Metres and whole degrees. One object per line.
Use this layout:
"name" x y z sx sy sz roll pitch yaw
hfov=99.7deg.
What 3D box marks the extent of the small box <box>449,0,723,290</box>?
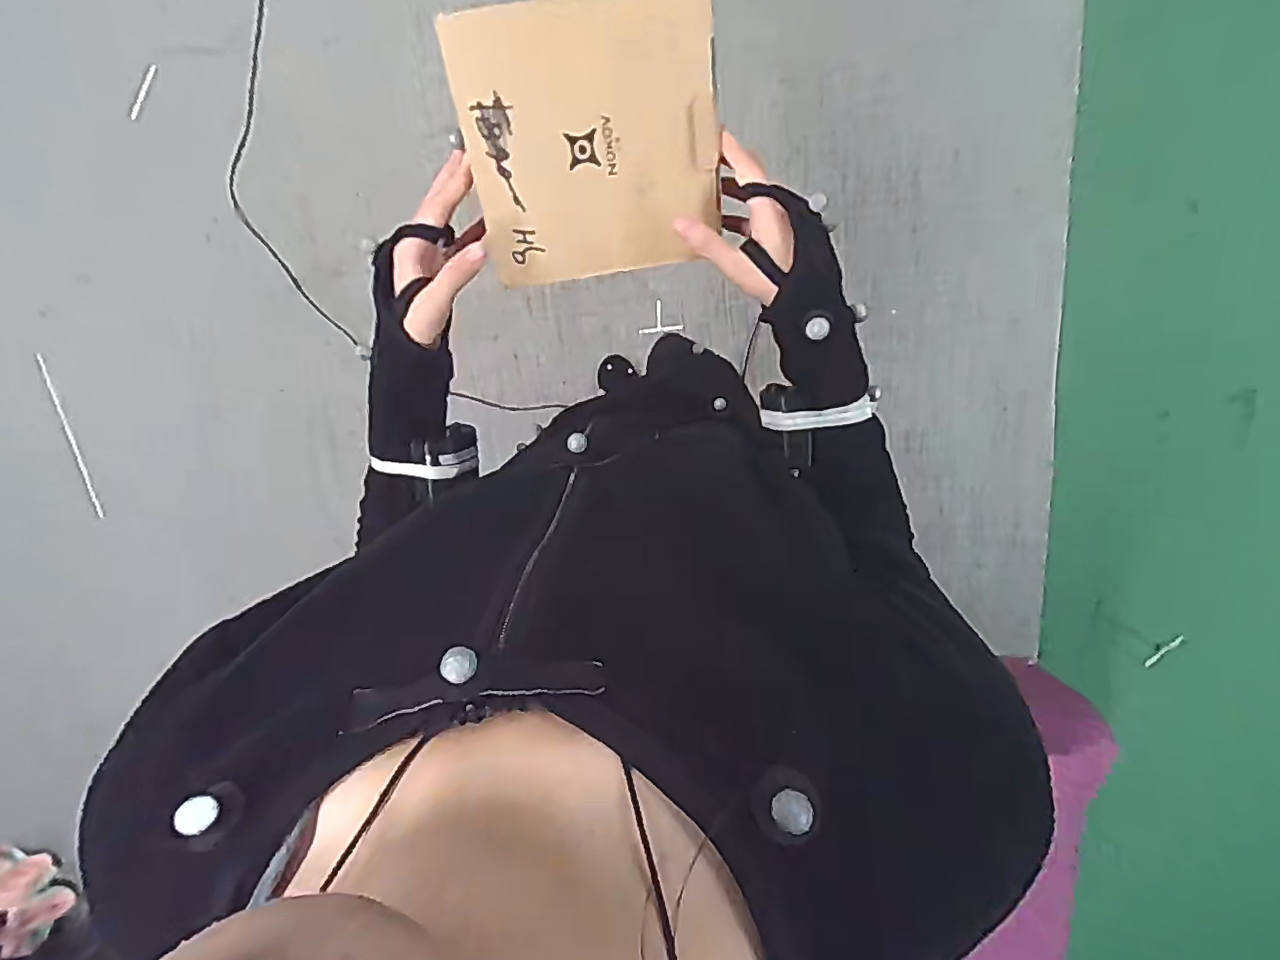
"small box" -0.036 -0.268 0.448 0.179 0.176 0.168 -7 121 -1
